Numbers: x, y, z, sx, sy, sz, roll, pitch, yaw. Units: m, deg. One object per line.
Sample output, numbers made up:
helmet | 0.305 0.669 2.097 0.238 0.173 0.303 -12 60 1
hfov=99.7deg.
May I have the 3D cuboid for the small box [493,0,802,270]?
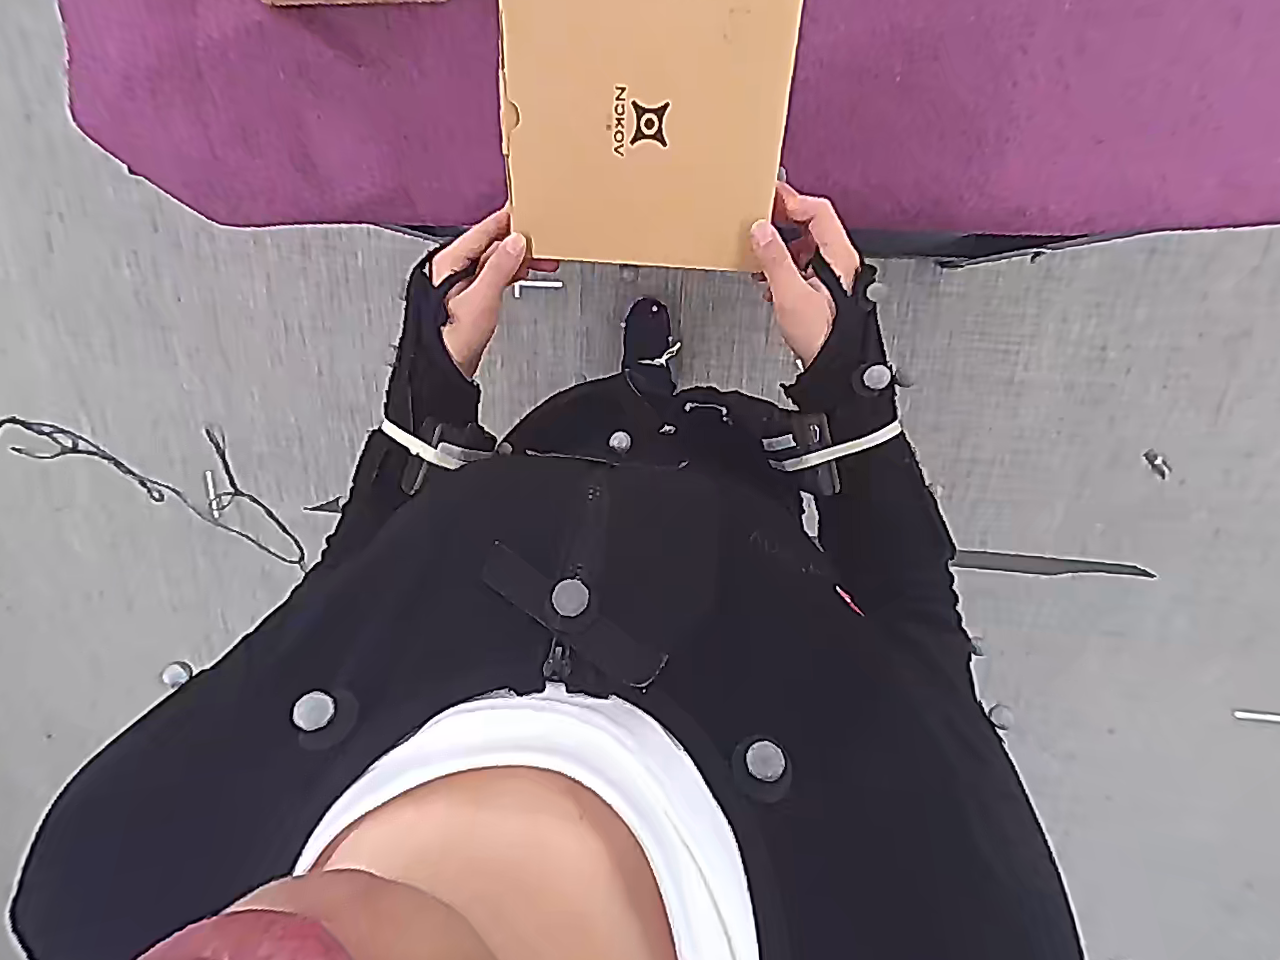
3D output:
small box | 0.006 -0.257 0.399 0.179 0.176 0.168 5 117 4
